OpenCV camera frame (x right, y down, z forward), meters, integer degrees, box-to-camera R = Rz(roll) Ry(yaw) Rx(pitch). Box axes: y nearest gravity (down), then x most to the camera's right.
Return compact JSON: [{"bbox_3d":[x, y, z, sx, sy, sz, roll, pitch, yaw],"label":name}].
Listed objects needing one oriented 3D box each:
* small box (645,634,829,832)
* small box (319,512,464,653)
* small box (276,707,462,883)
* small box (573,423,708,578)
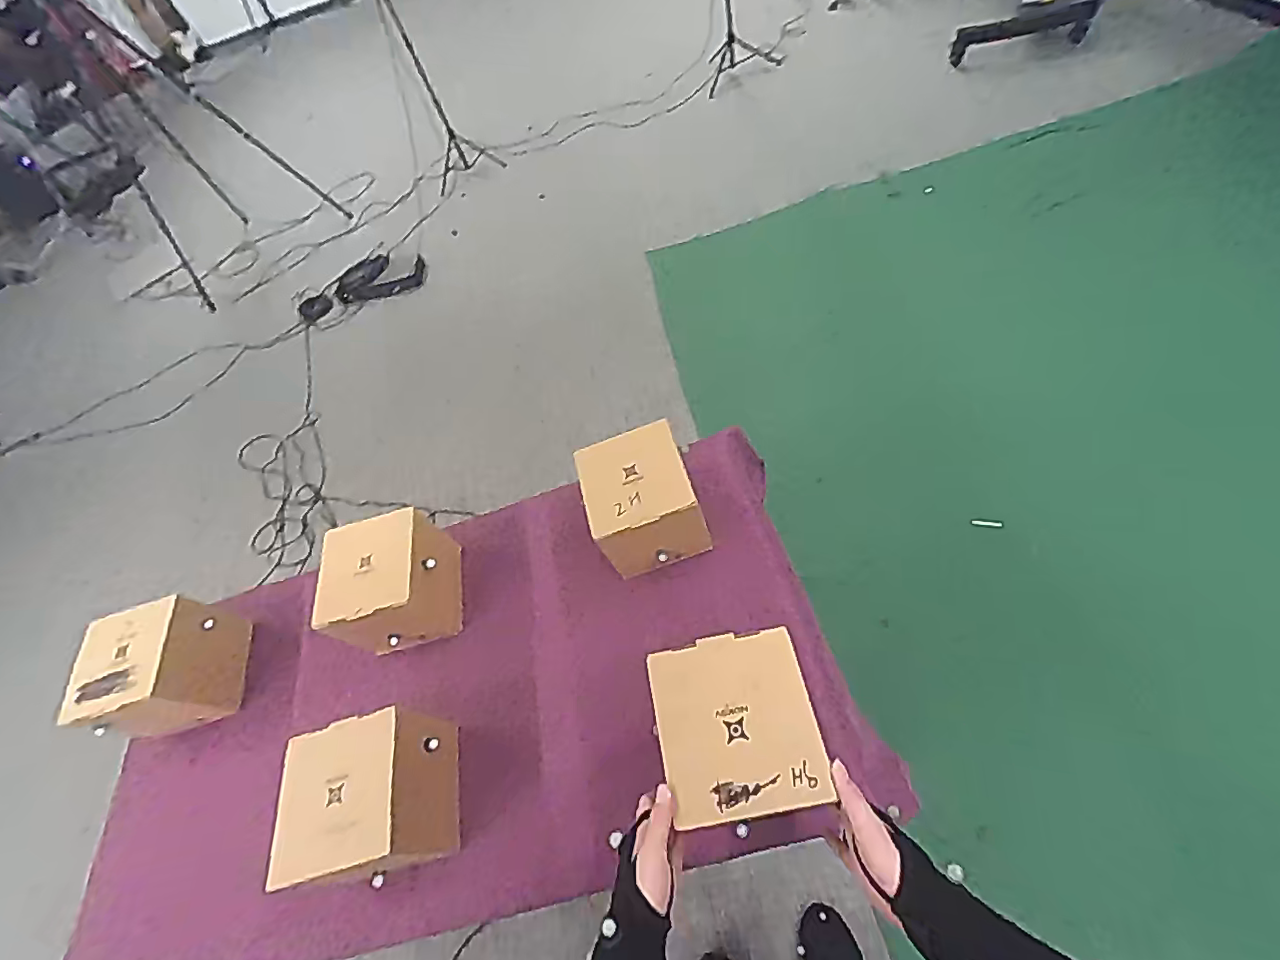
[{"bbox_3d":[0.110,0.304,0.644,0.168,0.176,0.179,-13,58,5],"label":"small box"},{"bbox_3d":[-0.427,0.186,0.958,0.168,0.176,0.179,-16,58,5],"label":"small box"},{"bbox_3d":[-0.371,0.451,0.775,0.168,0.176,0.179,-19,55,5],"label":"small box"},{"bbox_3d":[0.003,0.040,0.918,0.168,0.176,0.179,-21,56,6],"label":"small box"}]
